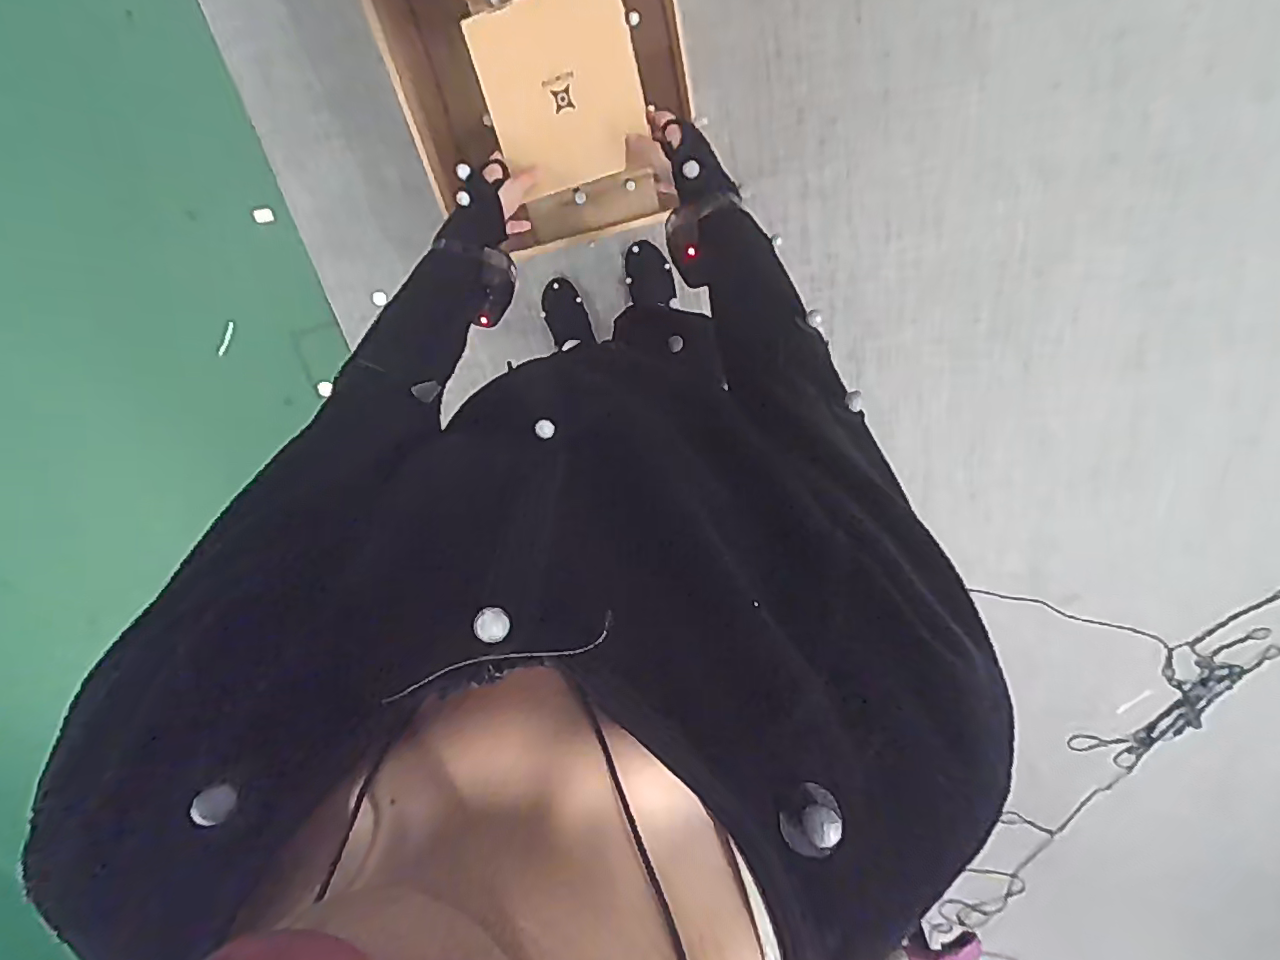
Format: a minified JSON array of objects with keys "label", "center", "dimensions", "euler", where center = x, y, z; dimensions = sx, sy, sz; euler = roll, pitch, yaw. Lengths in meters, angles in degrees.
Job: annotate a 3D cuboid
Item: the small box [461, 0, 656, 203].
[{"label":"small box","center":[-0.080,-0.448,0.647],"dimensions":[0.168,0.176,0.179],"euler":[-12,114,9]}]
